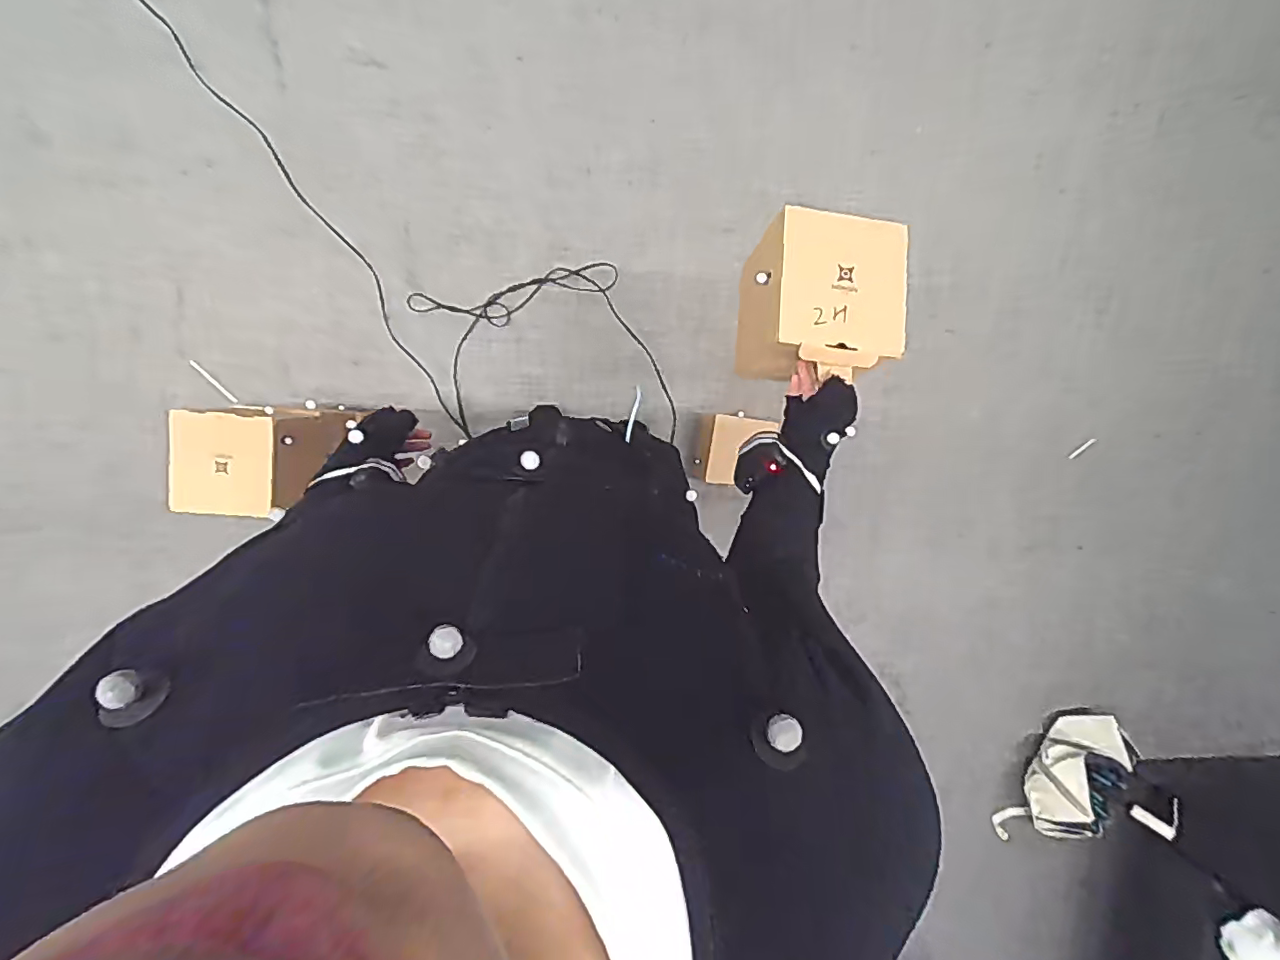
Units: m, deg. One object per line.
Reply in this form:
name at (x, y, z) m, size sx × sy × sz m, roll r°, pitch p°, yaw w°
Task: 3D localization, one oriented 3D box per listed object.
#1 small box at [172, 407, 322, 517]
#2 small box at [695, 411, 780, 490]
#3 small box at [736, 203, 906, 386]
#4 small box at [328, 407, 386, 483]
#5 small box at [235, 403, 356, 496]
small box at (-0.711, -0.039, 0.995) m, size 0.168 × 0.176 × 0.179 m, roll 4°, pitch 96°, yaw -6°
small box at (0.246, -0.081, 1.412) m, size 0.168 × 0.176 × 0.179 m, roll 8°, pitch 97°, yaw -7°
small box at (0.240, -0.242, 0.748) m, size 0.168 × 0.176 × 0.179 m, roll 5°, pitch 85°, yaw -7°
small box at (-0.736, -0.090, 1.318) m, size 0.179 × 0.176 × 0.168 m, roll 4°, pitch 97°, yaw -6°
small box at (-0.727, -0.069, 1.155) m, size 0.168 × 0.176 × 0.179 m, roll 5°, pitch 96°, yaw -6°
